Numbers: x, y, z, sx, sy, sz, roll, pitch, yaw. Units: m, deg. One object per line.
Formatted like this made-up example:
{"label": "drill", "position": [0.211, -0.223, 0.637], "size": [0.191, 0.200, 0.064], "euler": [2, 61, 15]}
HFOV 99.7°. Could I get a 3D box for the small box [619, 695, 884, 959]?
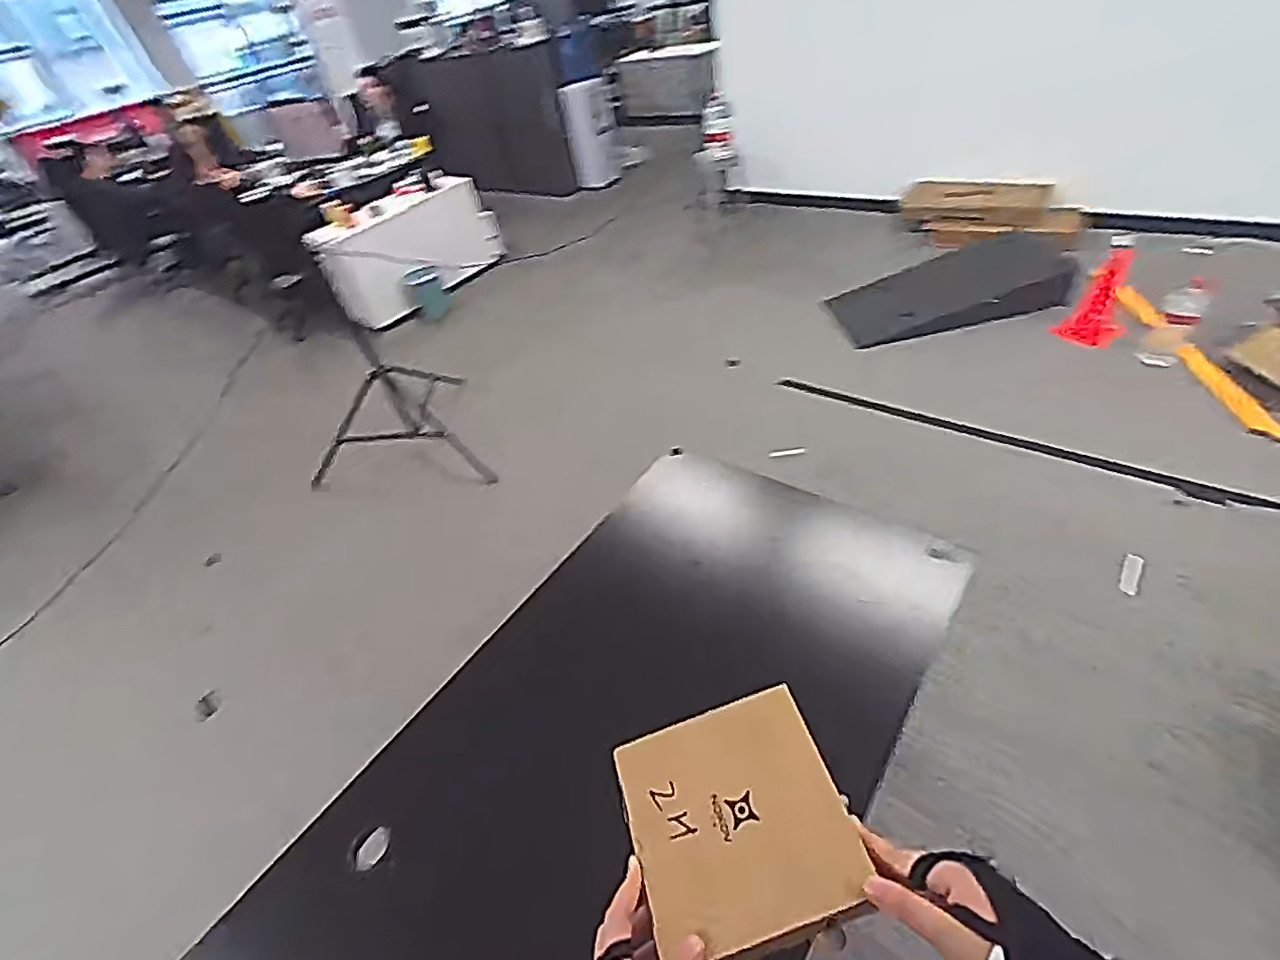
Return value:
{"label": "small box", "position": [0.098, 0.333, 0.506], "size": [0.179, 0.176, 0.168], "euler": [-20, 45, 1]}
